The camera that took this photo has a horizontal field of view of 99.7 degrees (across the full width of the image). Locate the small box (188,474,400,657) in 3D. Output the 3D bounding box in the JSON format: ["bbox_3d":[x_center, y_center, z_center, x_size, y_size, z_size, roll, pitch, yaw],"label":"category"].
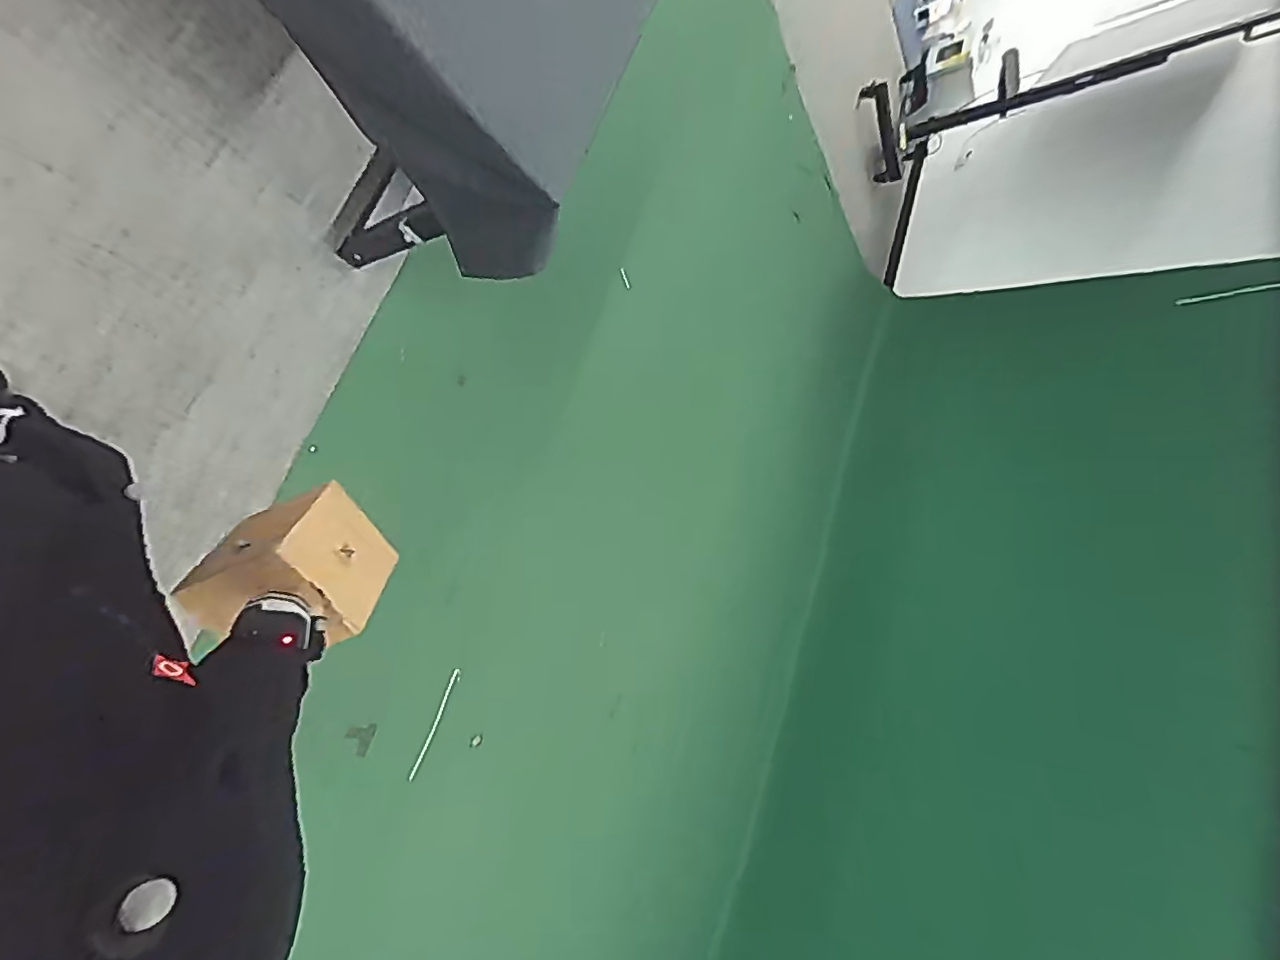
[{"bbox_3d":[-0.491,0.124,0.781,0.179,0.176,0.168,-99,166,-60],"label":"small box"}]
